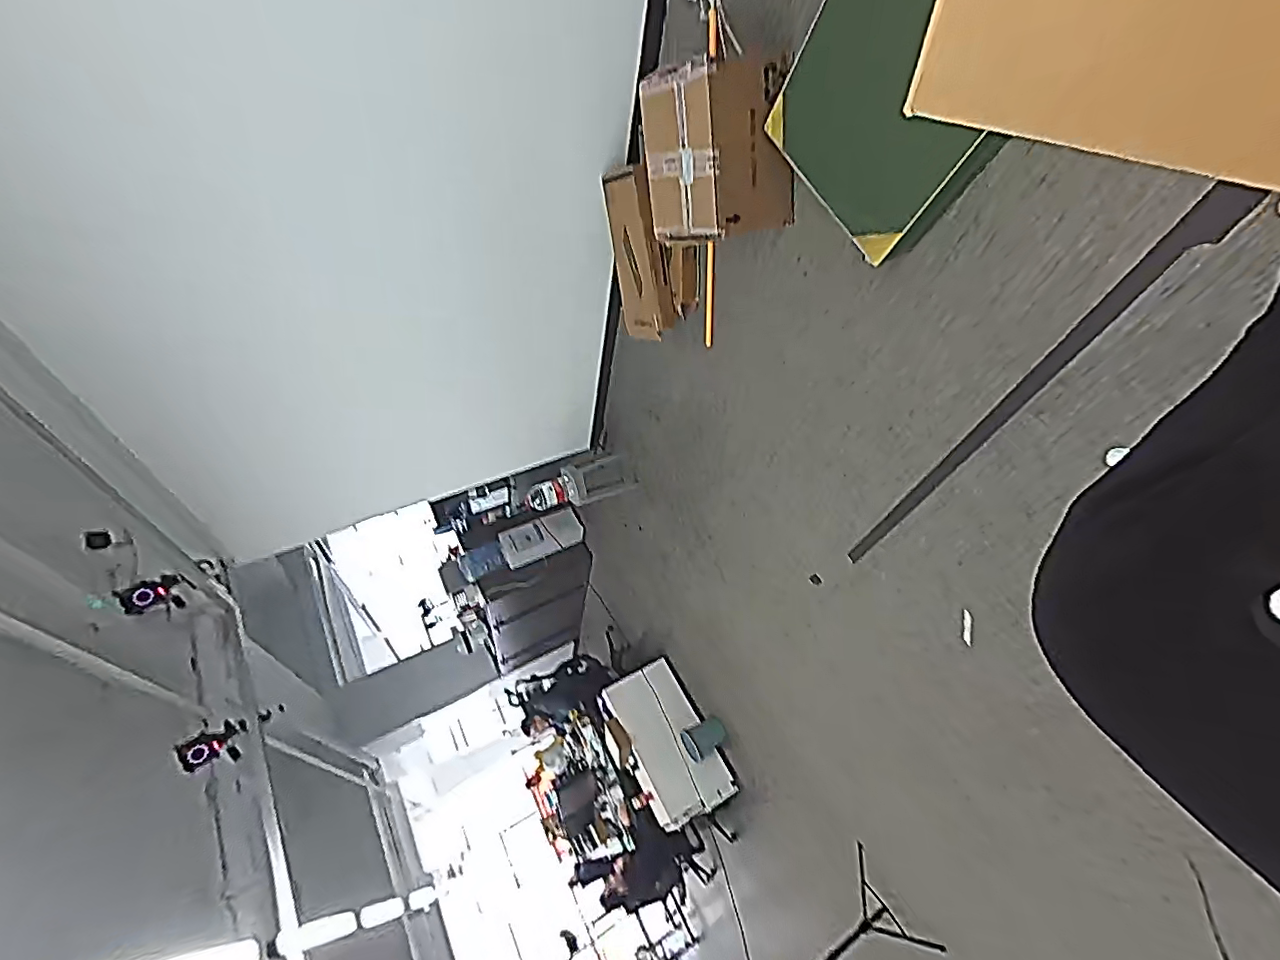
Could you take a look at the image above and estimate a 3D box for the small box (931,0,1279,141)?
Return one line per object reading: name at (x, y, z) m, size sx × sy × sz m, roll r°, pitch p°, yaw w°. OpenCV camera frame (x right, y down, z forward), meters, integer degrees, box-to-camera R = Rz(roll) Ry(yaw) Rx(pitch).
small box at (0.226, -0.232, 0.156) m, size 0.176 × 0.179 × 0.168 m, roll 26°, pitch 166°, yaw 18°
